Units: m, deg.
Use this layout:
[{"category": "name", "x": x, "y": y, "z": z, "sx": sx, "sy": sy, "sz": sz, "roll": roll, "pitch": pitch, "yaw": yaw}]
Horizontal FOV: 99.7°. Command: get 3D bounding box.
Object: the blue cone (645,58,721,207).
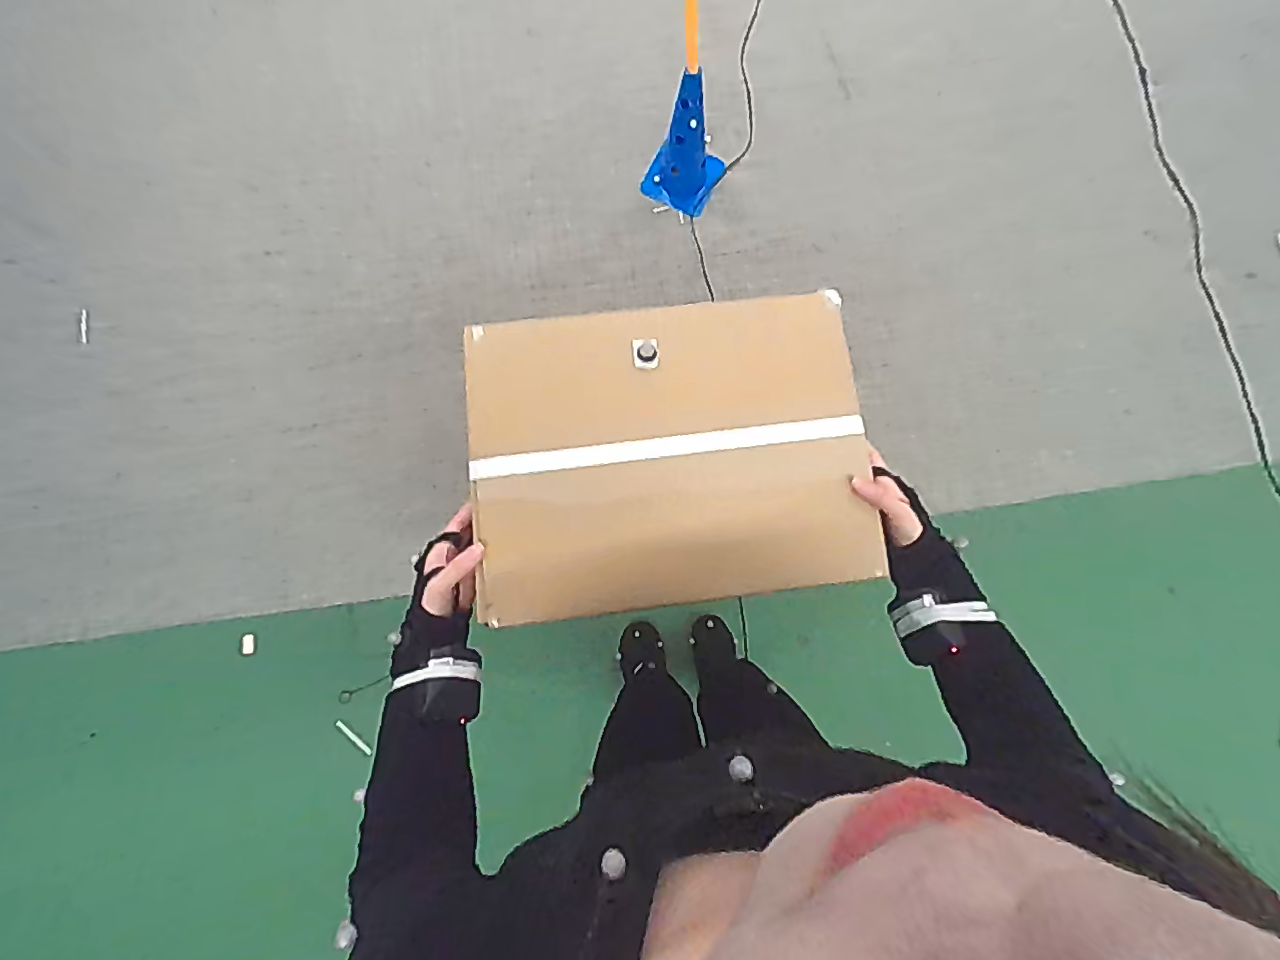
[{"category": "blue cone", "x": 0.123, "y": -0.917, "z": 1.411, "sx": 0.192, "sy": 0.380, "sz": 0.193, "roll": 24, "pitch": 84, "yaw": 4}]
